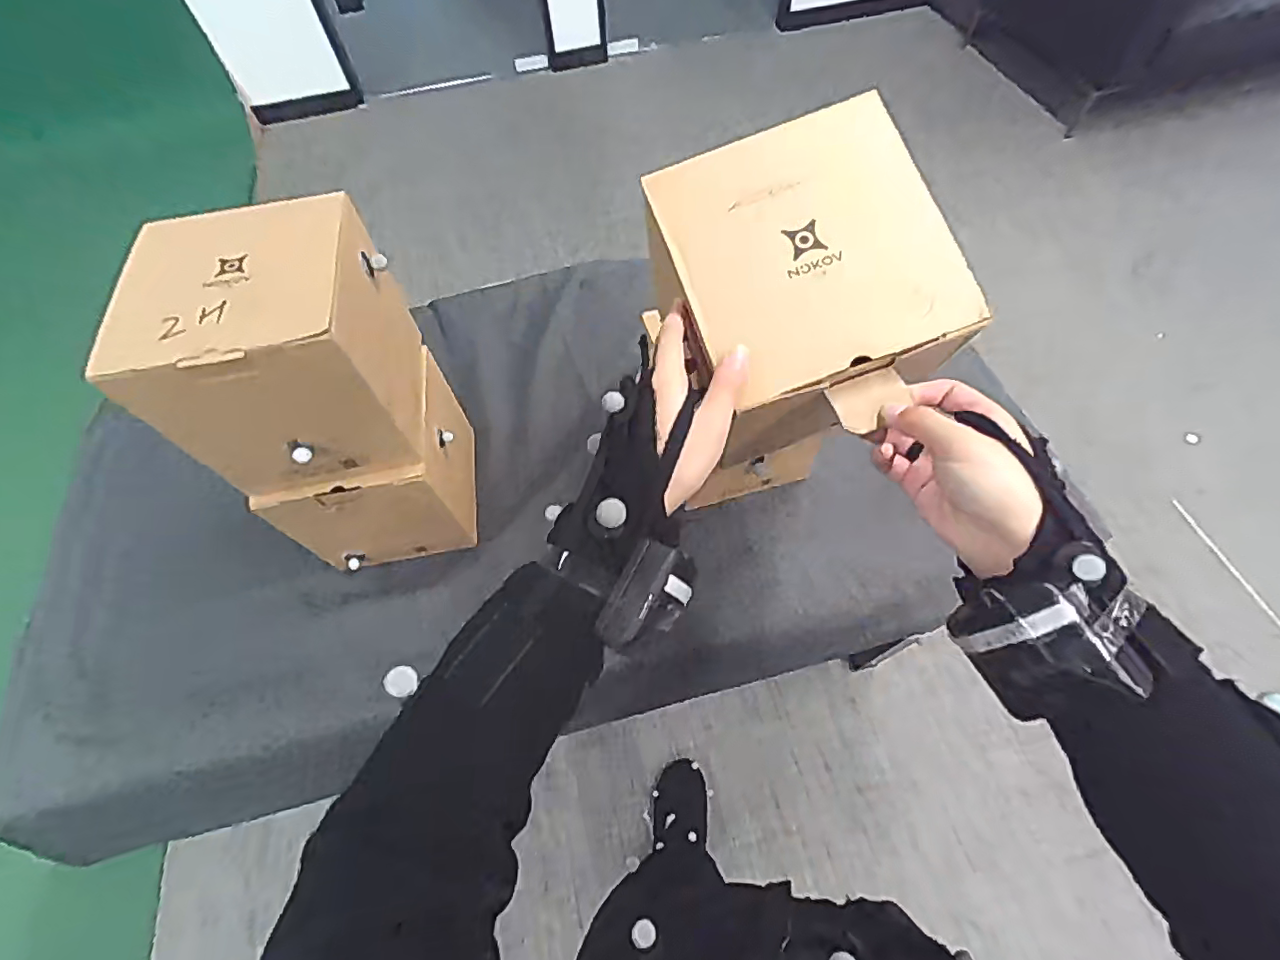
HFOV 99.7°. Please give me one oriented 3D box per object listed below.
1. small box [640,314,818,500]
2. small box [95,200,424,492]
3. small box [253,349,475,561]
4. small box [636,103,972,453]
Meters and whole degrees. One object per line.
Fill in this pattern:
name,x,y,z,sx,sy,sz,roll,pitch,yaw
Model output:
small box,0.104,-0.092,0.644,0.168,0.176,0.179,-15,61,-6
small box,-0.308,-0.114,0.487,0.168,0.176,0.179,-12,60,-3
small box,-0.295,-0.019,0.622,0.168,0.176,0.179,-10,59,-3
small box,0.108,-0.132,0.425,0.168,0.176,0.179,-20,77,1
